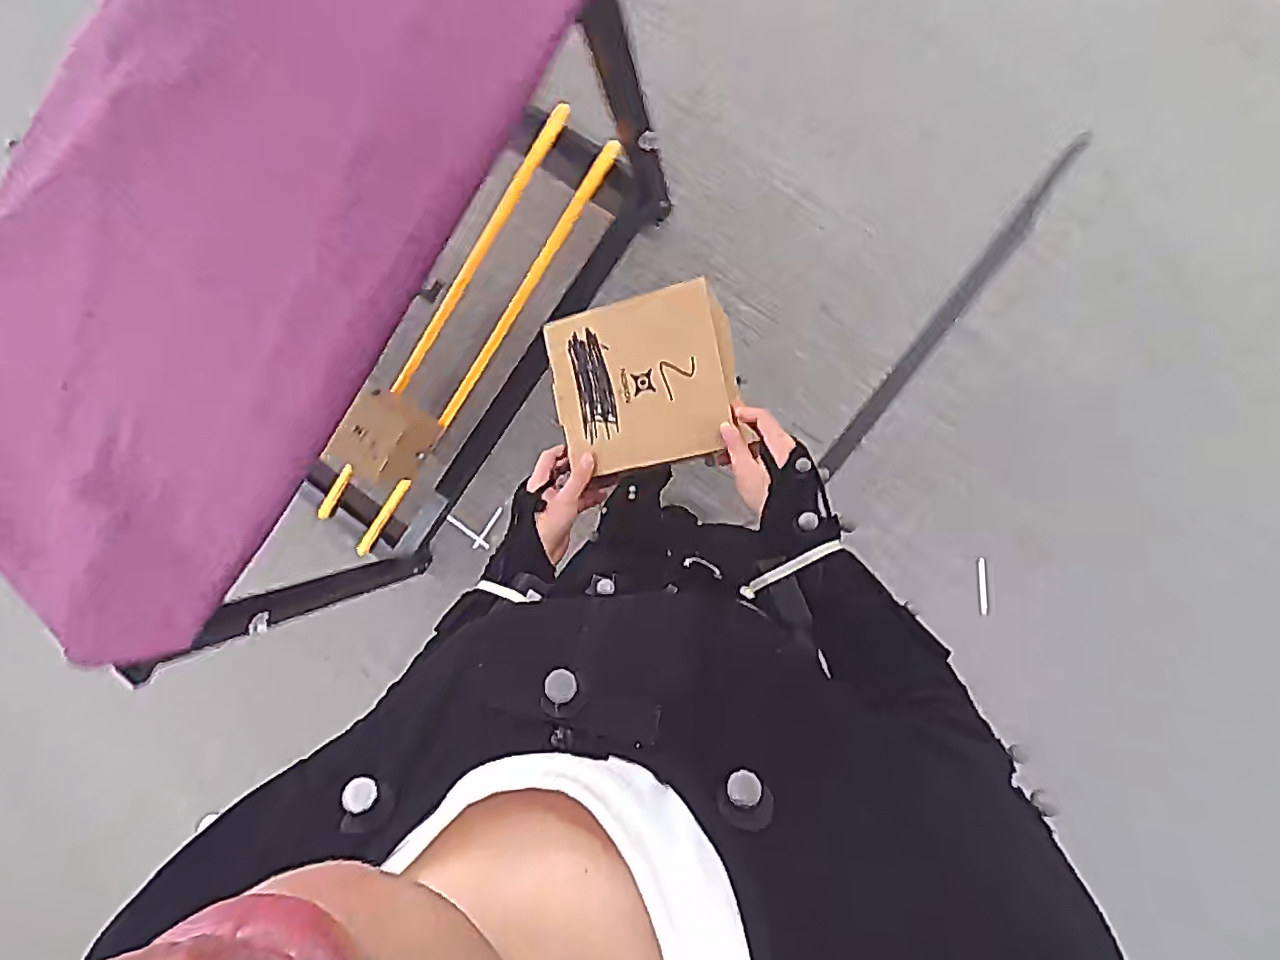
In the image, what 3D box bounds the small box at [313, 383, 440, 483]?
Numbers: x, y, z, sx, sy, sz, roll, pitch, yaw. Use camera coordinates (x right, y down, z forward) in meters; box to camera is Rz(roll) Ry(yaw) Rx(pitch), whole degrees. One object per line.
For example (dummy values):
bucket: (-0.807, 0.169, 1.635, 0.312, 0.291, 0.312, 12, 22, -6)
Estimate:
small box: (-0.617, -0.106, 1.285, 0.179, 0.176, 0.168, 33, 96, 5)
